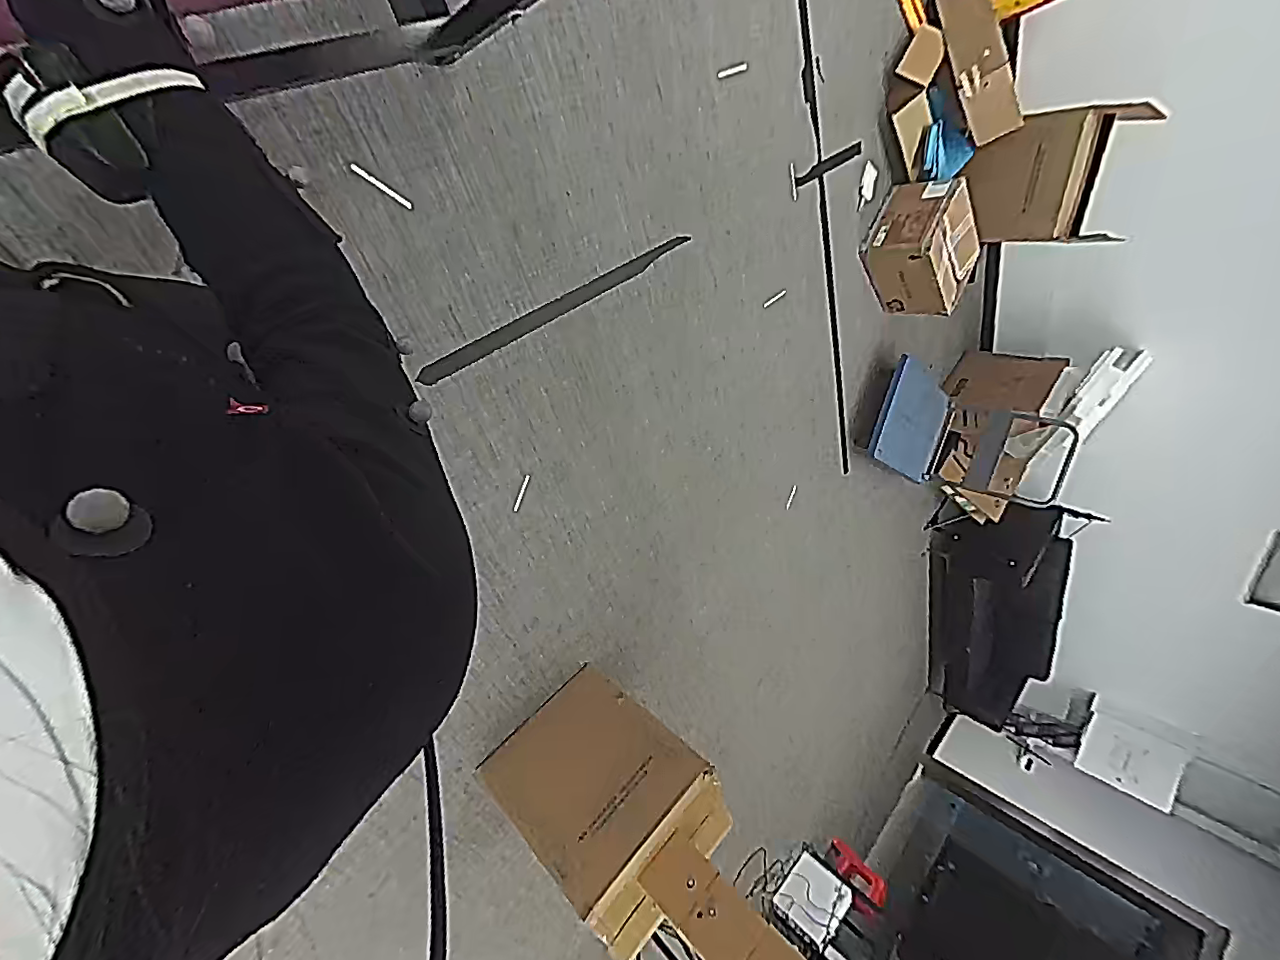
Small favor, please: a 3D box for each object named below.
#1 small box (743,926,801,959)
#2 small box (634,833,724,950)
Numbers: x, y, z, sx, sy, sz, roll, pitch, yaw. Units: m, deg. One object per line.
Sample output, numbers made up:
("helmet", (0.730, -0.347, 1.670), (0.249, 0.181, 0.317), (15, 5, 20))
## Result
("small box", (0.330, 1.249, 1.307), (0.179, 0.176, 0.168), (-38, 127, -28))
("small box", (0.110, 1.159, 1.535), (0.179, 0.176, 0.168), (-38, 127, -27))
